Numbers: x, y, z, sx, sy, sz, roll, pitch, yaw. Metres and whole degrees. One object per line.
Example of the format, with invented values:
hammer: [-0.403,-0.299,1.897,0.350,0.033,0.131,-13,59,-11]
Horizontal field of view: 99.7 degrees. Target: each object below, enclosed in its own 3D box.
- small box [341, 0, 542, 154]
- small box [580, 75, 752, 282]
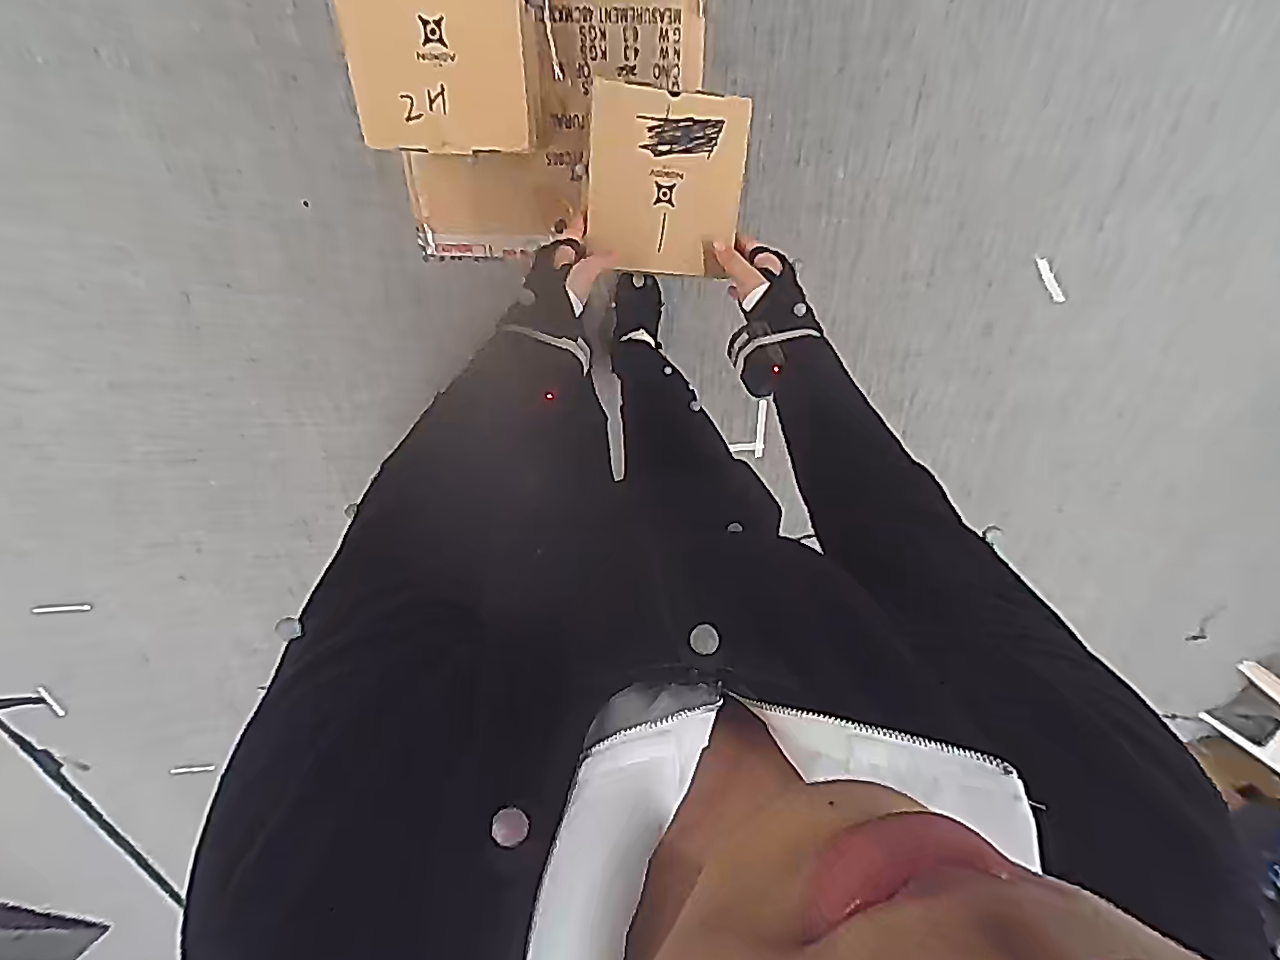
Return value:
small box: [-0.197,-0.454,0.577,0.168,0.176,0.179,-1,123,-4]
small box: [0.017,-0.339,0.645,0.168,0.176,0.179,2,109,-10]
